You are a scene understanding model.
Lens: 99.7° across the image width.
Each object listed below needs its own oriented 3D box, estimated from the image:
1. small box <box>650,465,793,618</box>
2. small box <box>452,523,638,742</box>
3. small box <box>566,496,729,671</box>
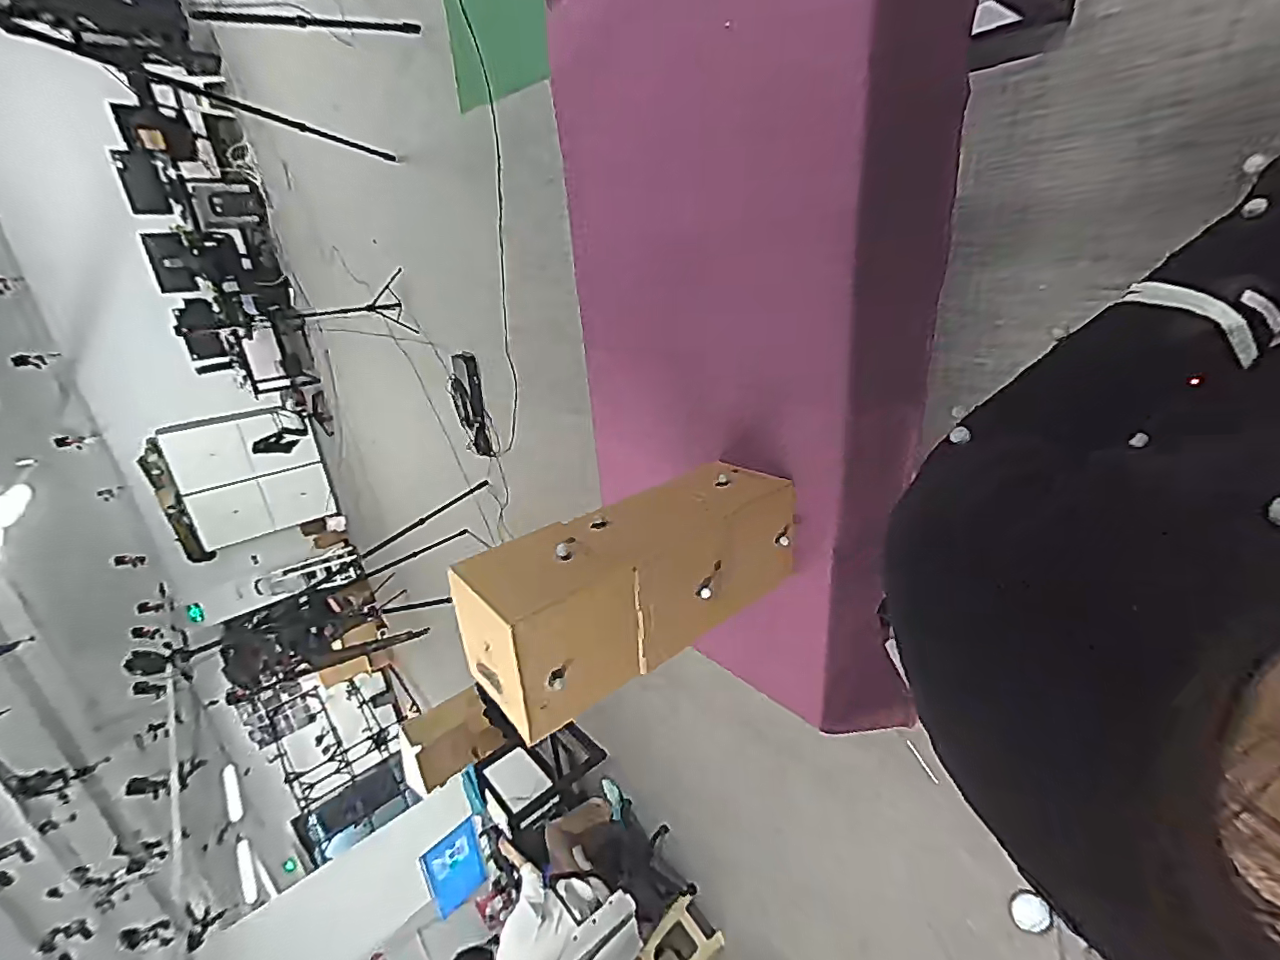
[{"bbox_3d":[0.136,0.087,0.888,0.168,0.176,0.179,19,121,46],"label":"small box"},{"bbox_3d":[-0.115,0.182,0.695,0.168,0.176,0.179,22,124,44],"label":"small box"},{"bbox_3d":[0.009,0.136,0.793,0.179,0.176,0.168,20,124,45],"label":"small box"}]
